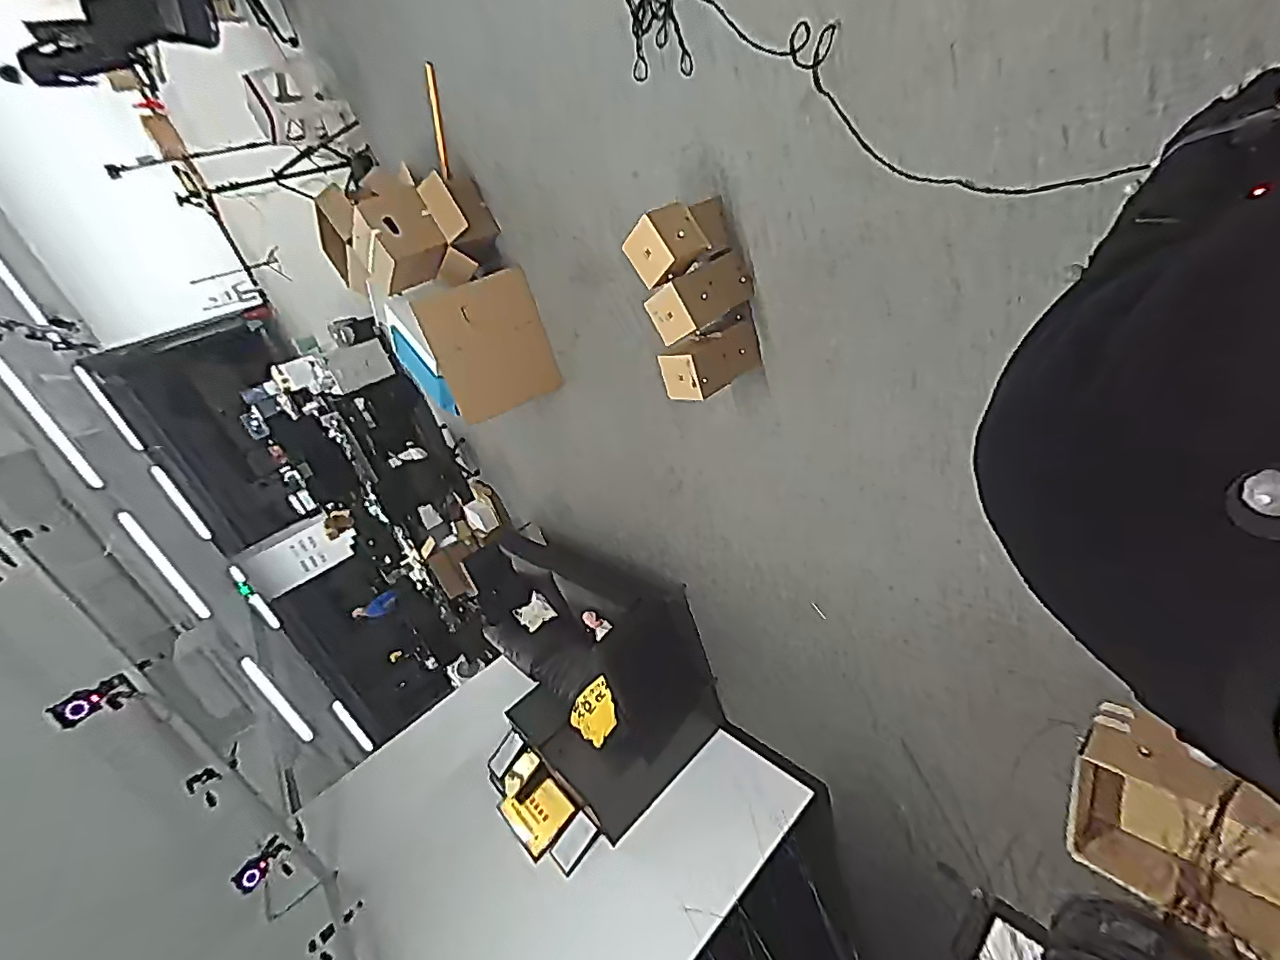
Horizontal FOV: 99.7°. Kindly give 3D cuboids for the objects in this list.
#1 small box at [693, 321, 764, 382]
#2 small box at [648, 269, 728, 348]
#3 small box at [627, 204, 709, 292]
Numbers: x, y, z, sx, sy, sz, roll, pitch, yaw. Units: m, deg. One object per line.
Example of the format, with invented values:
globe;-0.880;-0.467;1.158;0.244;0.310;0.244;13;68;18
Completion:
small box;0.326;-0.472;1.971;0.168;0.176;0.179;13;131;51
small box;0.165;-0.566;1.782;0.179;0.176;0.168;-14;108;60
small box;0.094;-0.736;1.711;0.168;0.176;0.179;57;152;-2
